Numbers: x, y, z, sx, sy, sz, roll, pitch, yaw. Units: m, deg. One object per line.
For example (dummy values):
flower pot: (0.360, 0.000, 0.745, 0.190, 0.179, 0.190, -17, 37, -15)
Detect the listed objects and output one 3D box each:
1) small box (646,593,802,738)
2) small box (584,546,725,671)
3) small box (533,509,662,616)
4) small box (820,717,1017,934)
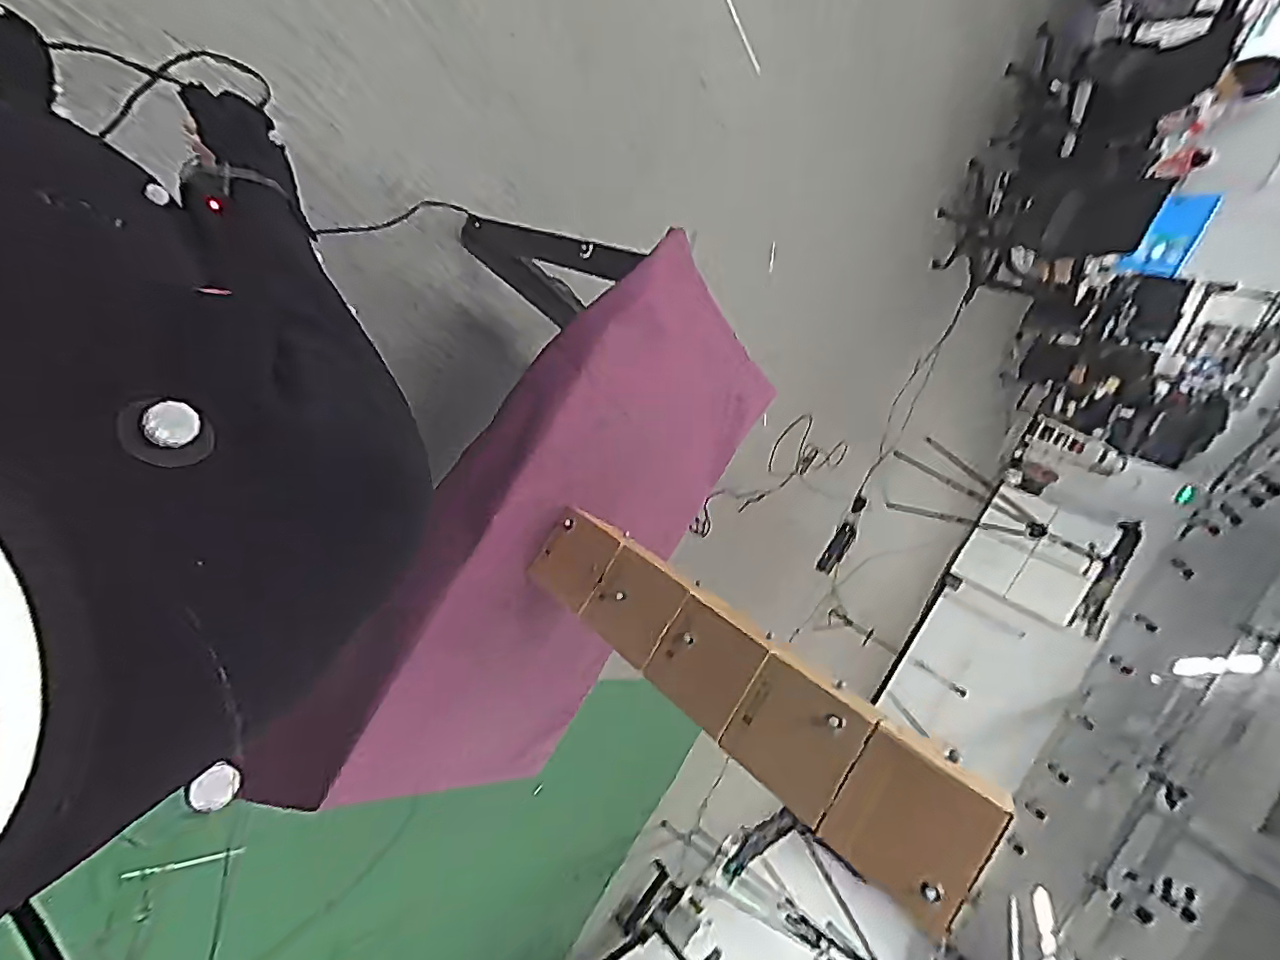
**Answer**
small box: (0.144, 0.312, 0.928, 0.179, 0.176, 0.168, 33, 88, -52)
small box: (0.031, 0.245, 1.023, 0.179, 0.176, 0.168, 33, 88, -52)
small box: (-0.086, 0.177, 1.117, 0.168, 0.176, 0.179, -58, 143, -1)
small box: (0.374, 0.443, 0.736, 0.179, 0.176, 0.168, -59, 144, -1)
